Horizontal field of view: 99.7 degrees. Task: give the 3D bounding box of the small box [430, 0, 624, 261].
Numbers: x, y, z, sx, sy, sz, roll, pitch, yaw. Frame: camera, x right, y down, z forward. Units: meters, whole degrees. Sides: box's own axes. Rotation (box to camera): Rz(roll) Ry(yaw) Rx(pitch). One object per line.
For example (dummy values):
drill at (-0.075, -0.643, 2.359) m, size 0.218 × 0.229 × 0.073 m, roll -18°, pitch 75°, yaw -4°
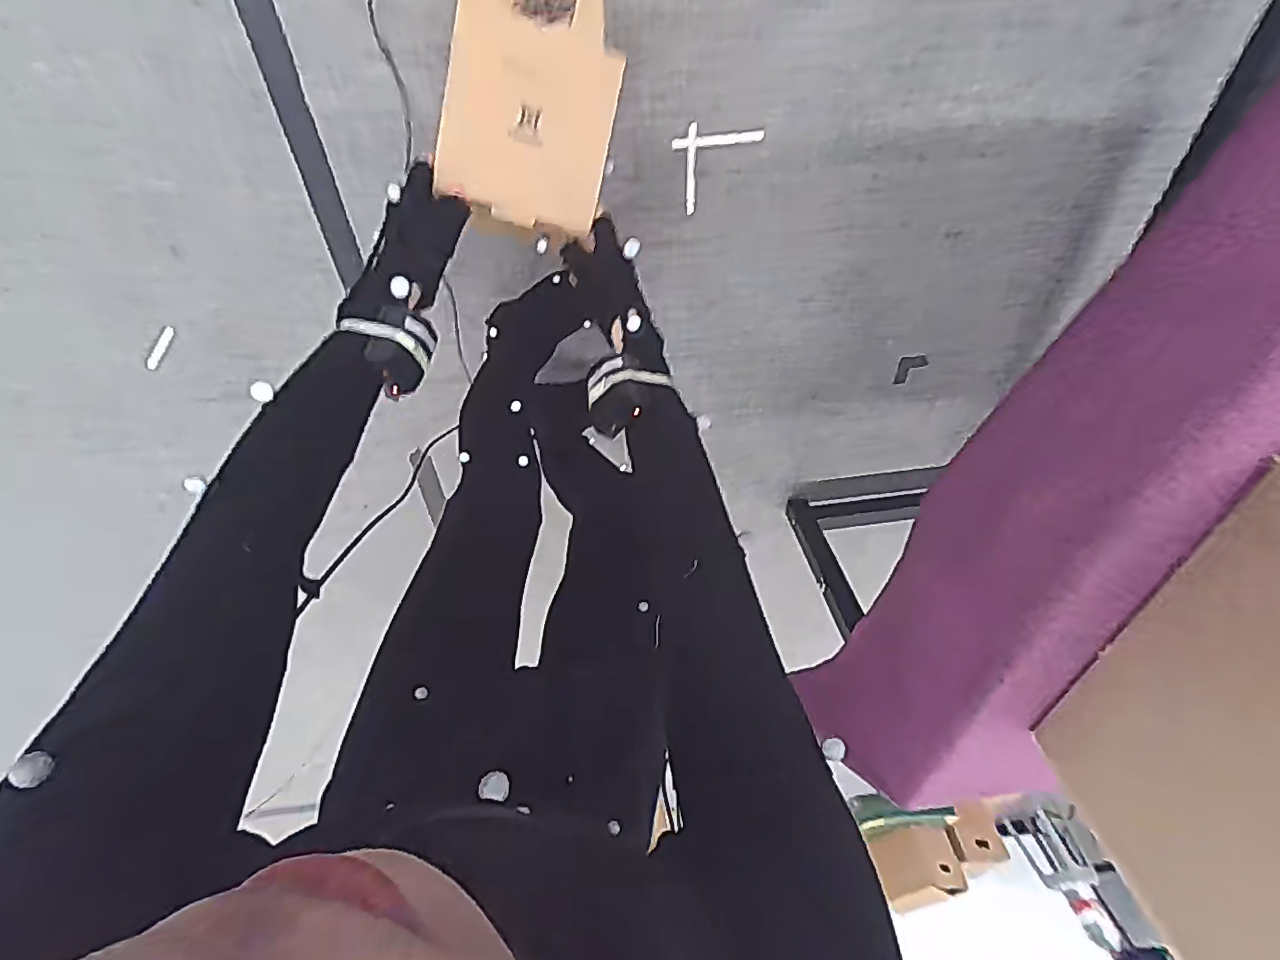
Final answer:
small box at (-0.129, -0.367, 0.614) m, size 0.168 × 0.176 × 0.179 m, roll 10°, pitch 99°, yaw -16°
